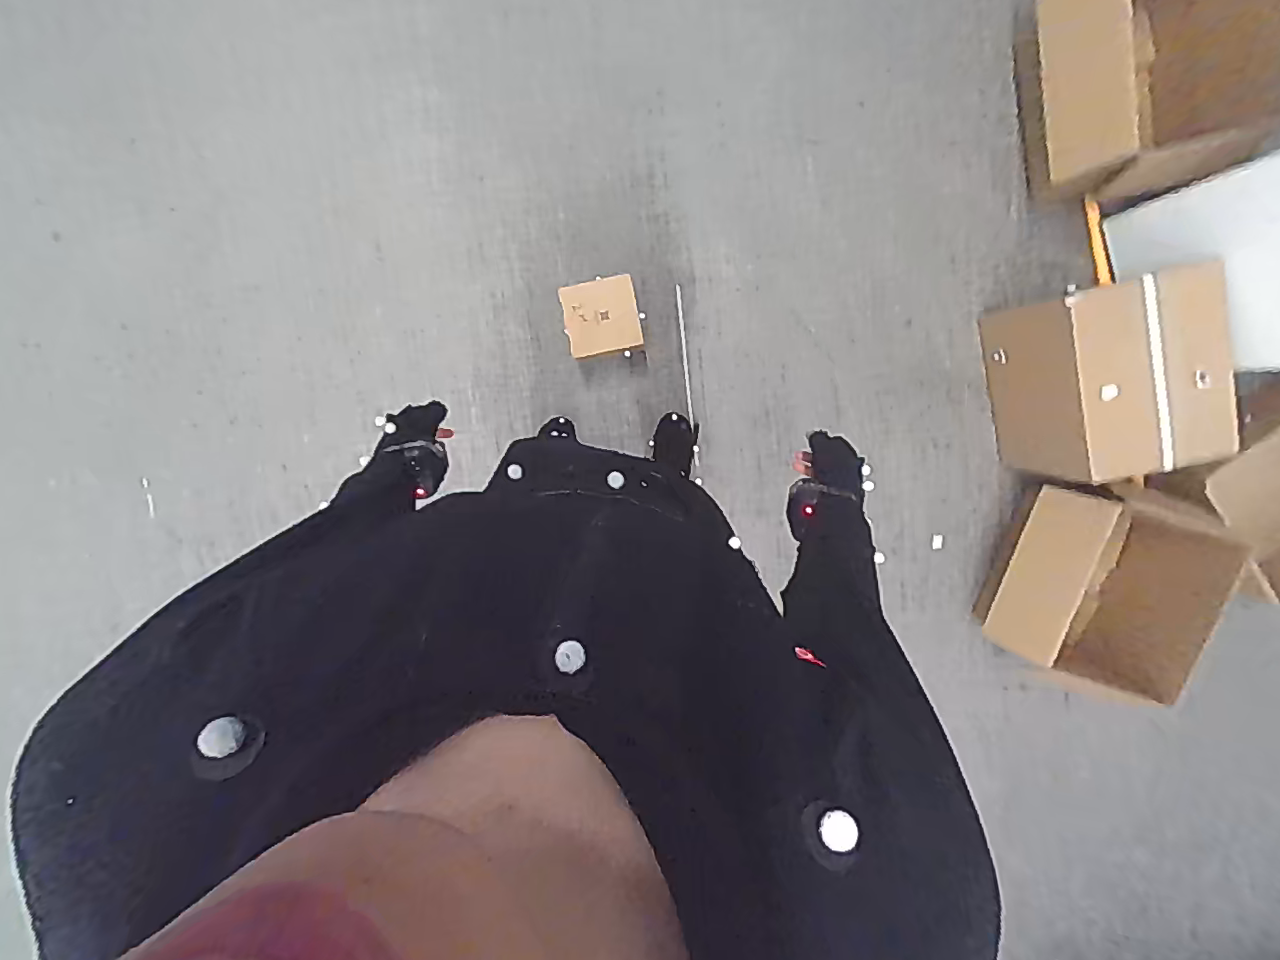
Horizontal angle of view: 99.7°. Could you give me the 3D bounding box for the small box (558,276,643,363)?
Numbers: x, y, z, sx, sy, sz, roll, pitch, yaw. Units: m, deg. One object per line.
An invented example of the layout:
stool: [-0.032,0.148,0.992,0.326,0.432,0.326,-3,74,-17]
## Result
small box: [-0.092,-0.389,1.335,0.179,0.176,0.168,-11,97,2]
